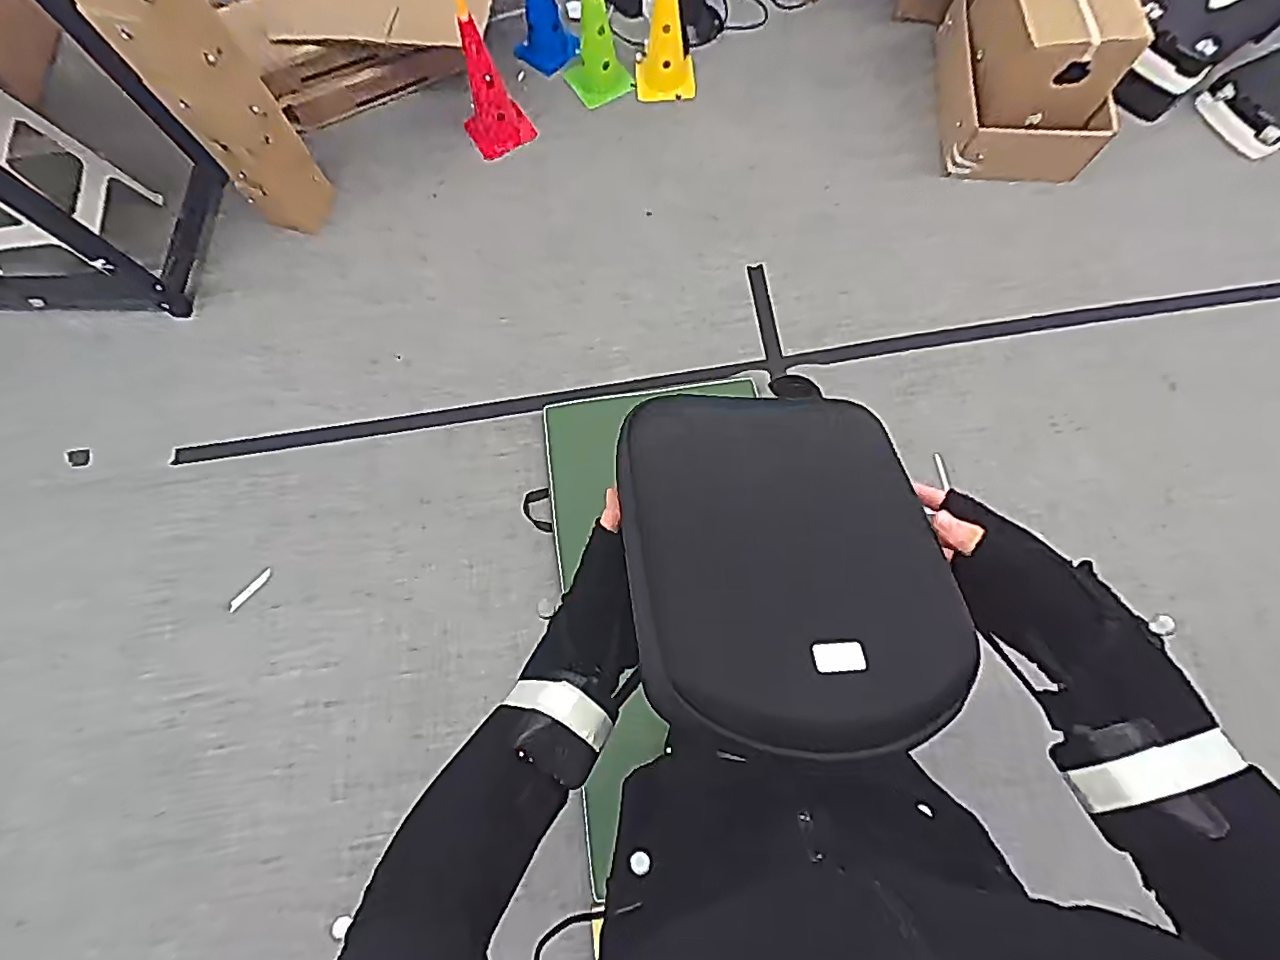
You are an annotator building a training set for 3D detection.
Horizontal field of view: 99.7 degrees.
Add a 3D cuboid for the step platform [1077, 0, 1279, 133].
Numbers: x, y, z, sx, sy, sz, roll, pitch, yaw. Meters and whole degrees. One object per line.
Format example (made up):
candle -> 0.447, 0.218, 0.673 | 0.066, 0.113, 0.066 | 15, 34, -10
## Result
step platform -> 1.822, -1.455, 1.779 | 0.684, 0.204, 0.286 | -37, 76, -8
